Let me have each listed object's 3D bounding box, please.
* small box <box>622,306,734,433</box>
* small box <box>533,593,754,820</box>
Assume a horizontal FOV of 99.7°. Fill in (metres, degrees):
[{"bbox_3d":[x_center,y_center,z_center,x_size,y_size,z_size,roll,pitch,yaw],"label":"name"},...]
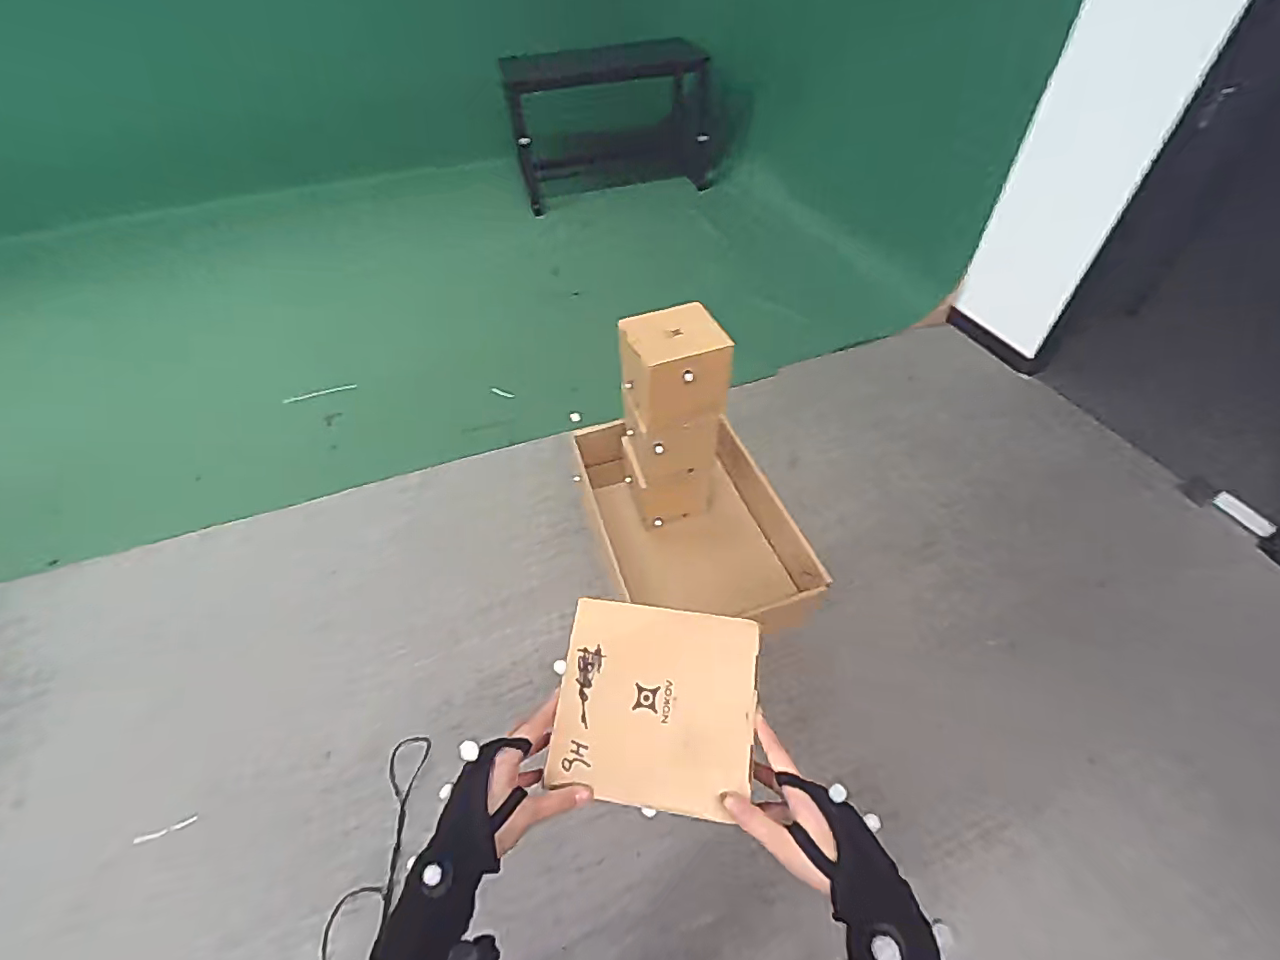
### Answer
[{"bbox_3d":[0.072,-0.222,1.096,0.179,0.176,0.168,-17,49,-11],"label":"small box"},{"bbox_3d":[0.012,0.227,0.547,0.179,0.176,0.168,6,62,7],"label":"small box"}]
